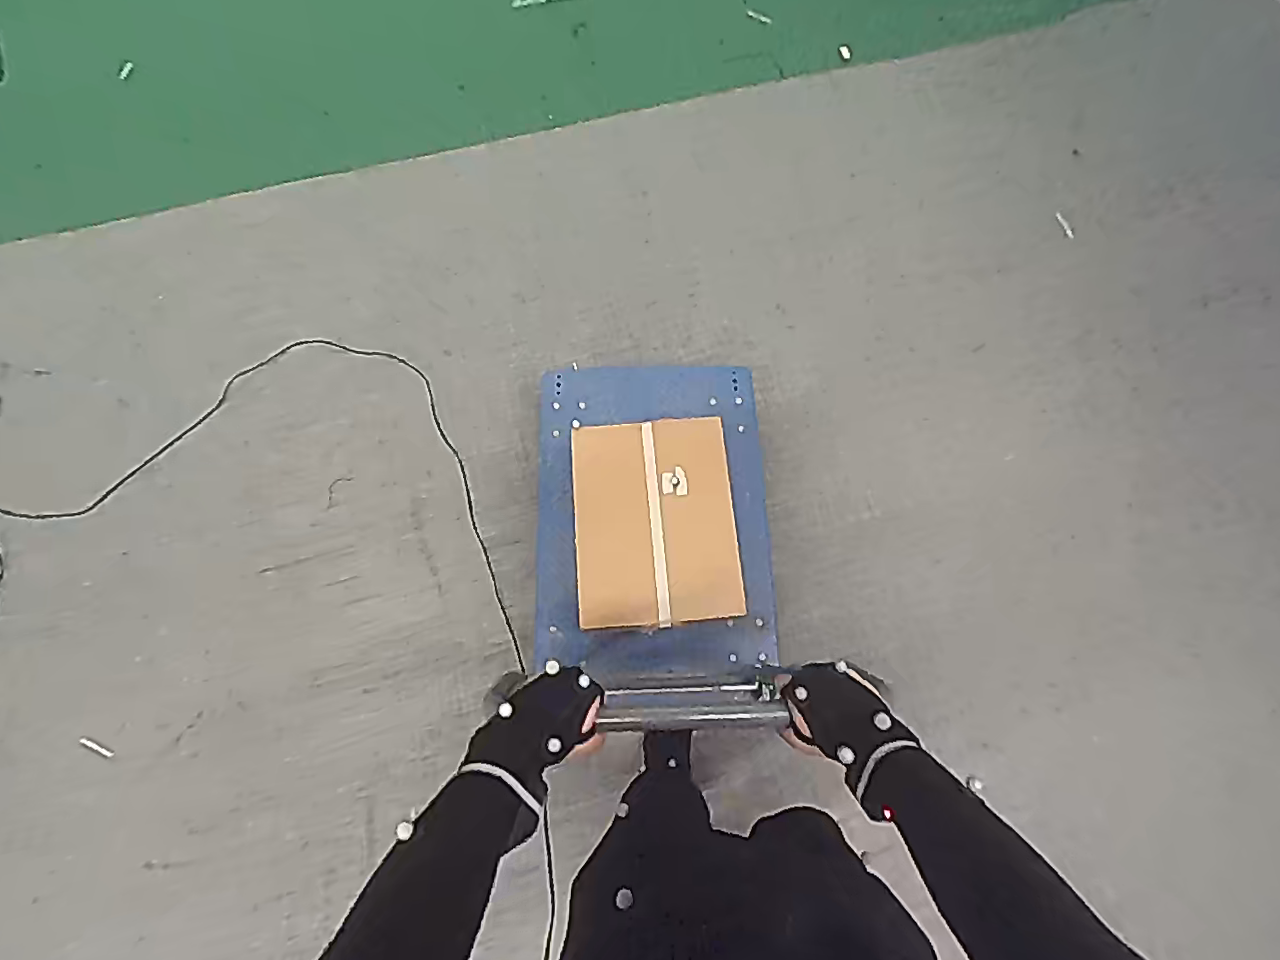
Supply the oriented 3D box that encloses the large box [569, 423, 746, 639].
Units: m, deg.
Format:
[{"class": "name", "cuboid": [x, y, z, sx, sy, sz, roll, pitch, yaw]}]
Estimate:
[{"class": "large box", "cuboid": [0.028, 0.129, 1.206, 0.320, 0.320, 0.408, -5, 73, -2]}]
